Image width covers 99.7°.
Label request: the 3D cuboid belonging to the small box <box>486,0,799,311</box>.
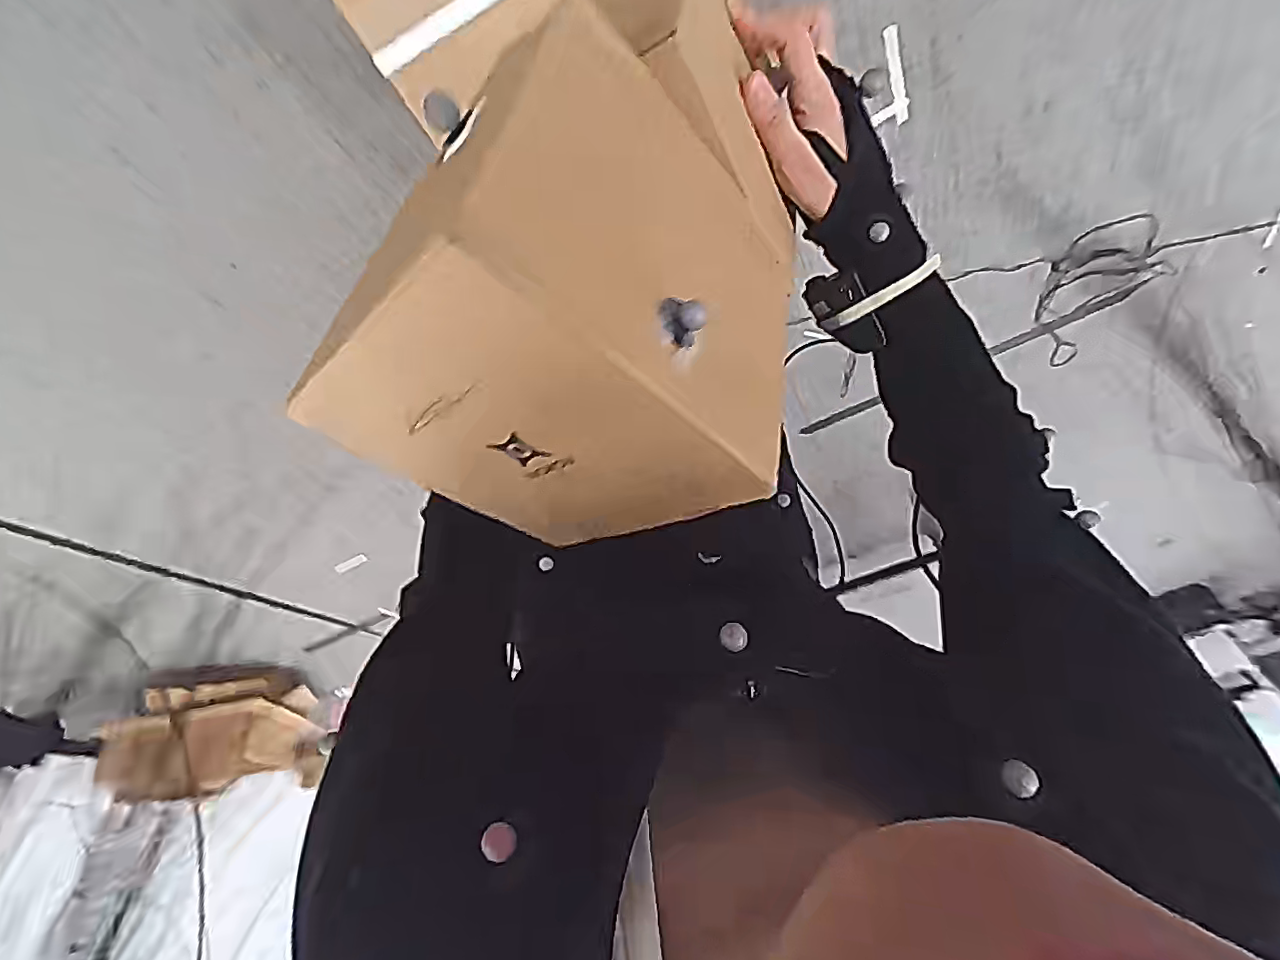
[{"bbox_3d":[0.004,-0.215,0.379,0.179,0.176,0.168,-9,148,30],"label":"small box"}]

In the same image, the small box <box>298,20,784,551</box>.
[{"bbox_3d":[-0.035,-0.080,0.292,0.168,0.176,0.179,-19,139,42],"label":"small box"}]
